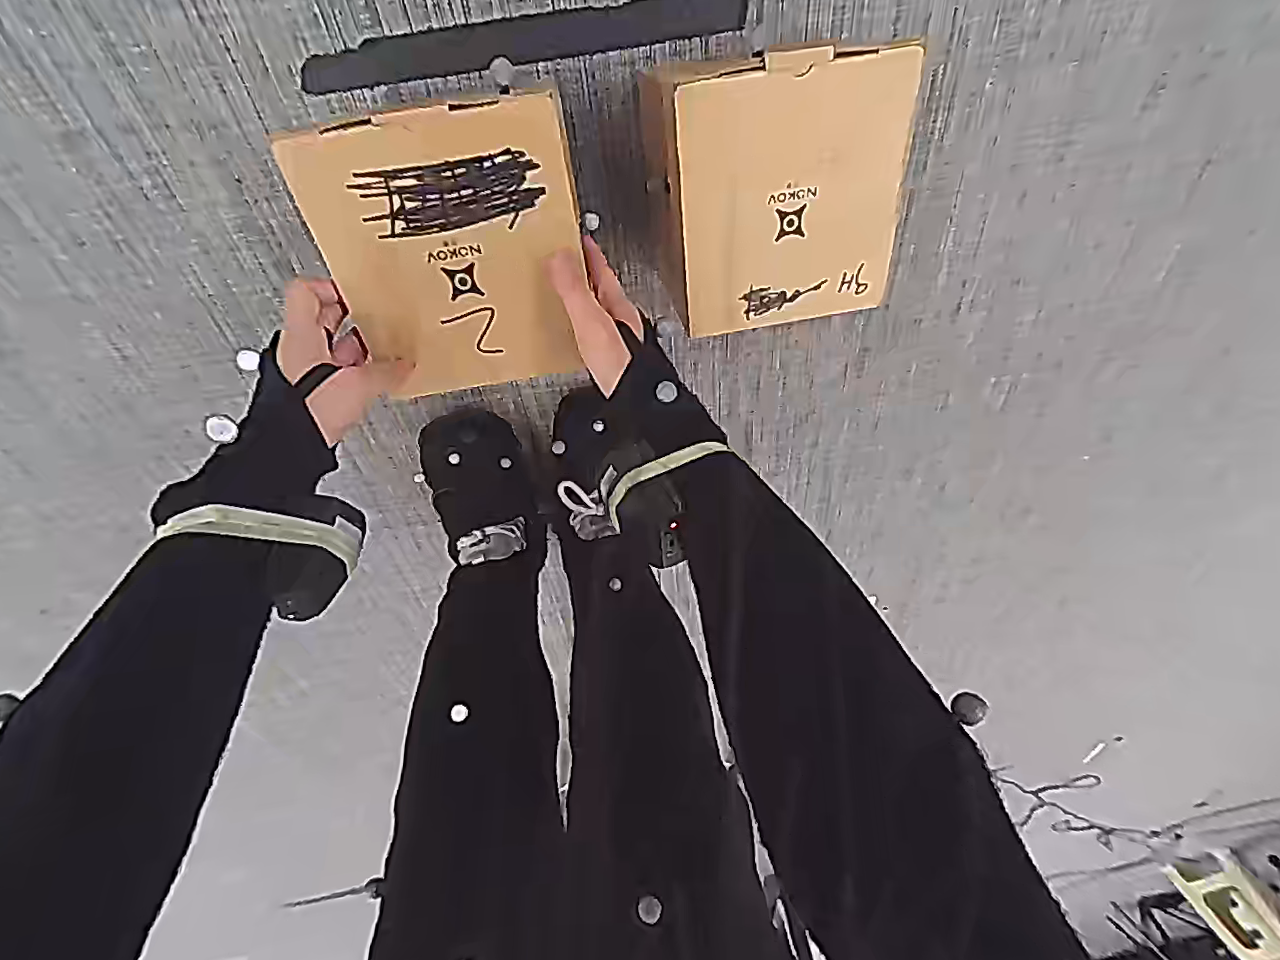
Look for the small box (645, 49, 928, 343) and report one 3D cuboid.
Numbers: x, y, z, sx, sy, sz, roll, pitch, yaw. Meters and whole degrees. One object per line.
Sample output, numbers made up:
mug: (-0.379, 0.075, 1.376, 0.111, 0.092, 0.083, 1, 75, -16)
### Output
small box: (0.103, -0.241, 0.456, 0.168, 0.176, 0.179, -10, 129, -3)
